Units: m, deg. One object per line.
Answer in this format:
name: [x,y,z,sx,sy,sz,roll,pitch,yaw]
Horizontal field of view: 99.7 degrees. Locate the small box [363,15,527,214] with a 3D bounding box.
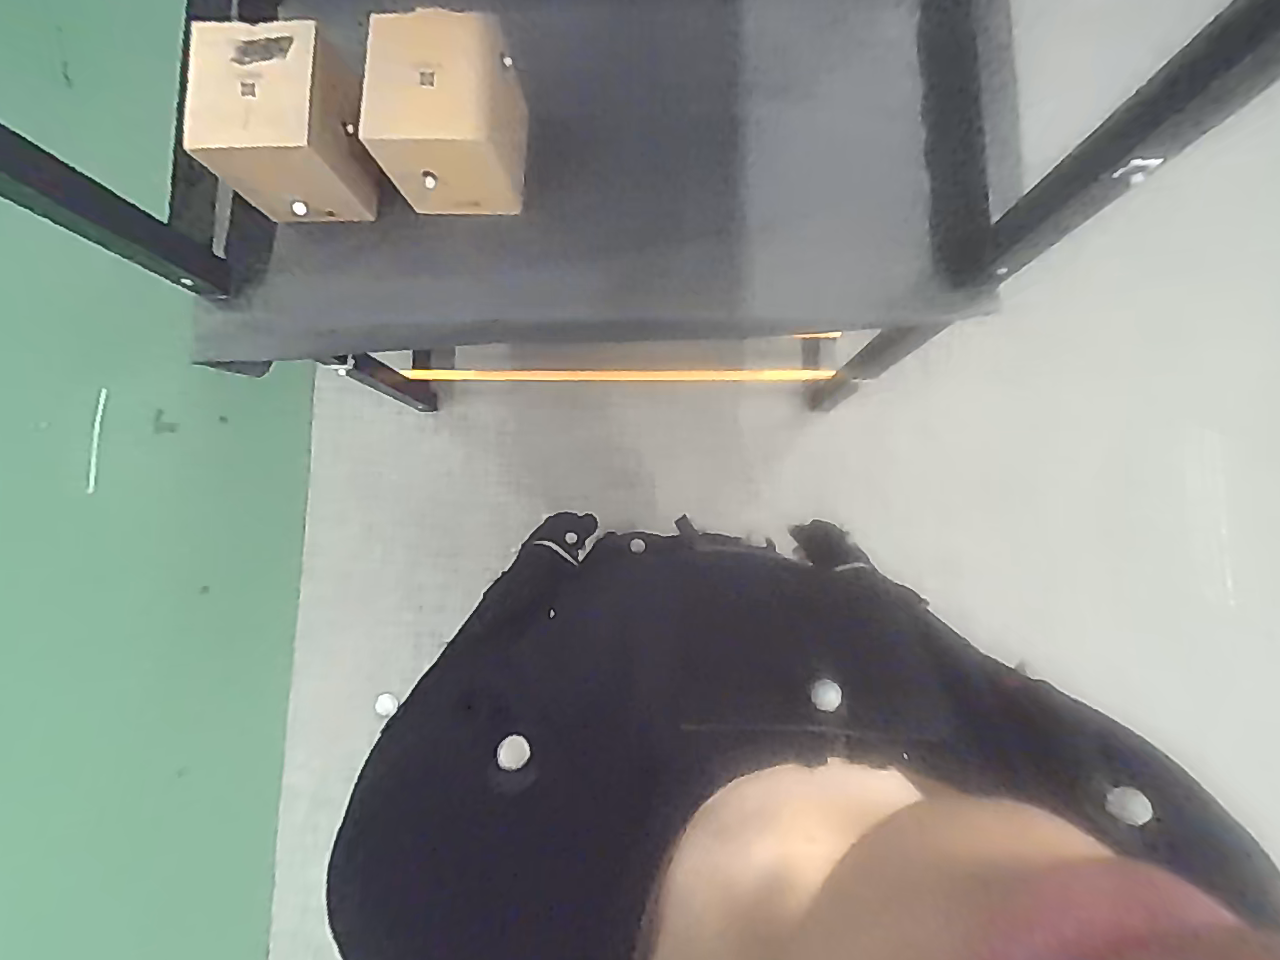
small box: [-0.264,-0.504,0.768,0.168,0.176,0.179,2,84,2]

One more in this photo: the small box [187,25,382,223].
small box: [-0.491,-0.498,0.775,0.168,0.176,0.179,0,85,2]
